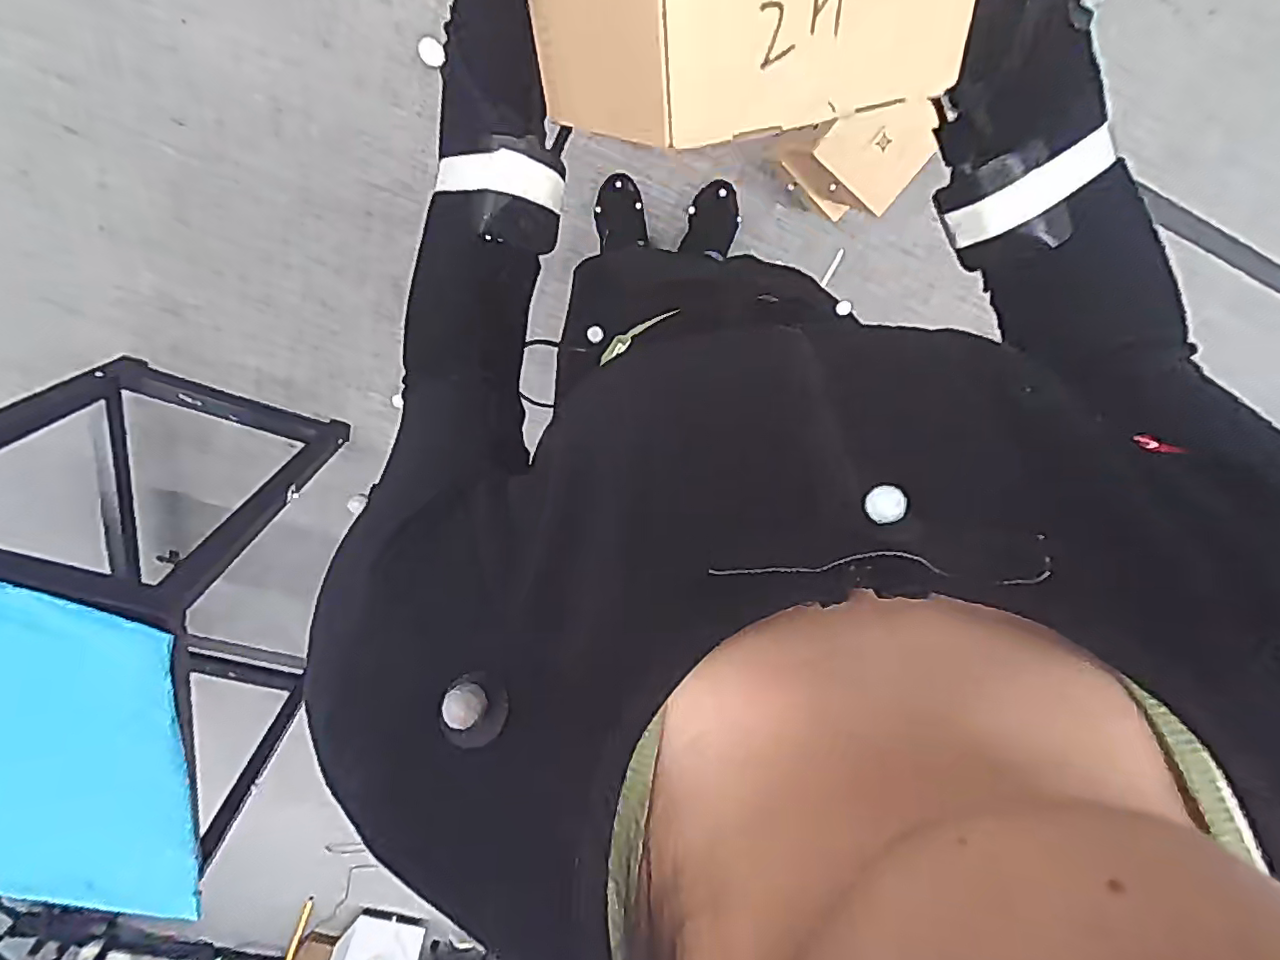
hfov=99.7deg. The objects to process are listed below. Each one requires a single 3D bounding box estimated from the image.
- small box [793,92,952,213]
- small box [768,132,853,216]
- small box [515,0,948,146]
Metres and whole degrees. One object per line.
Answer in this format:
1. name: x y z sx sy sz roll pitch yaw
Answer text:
1. small box: 0.404 -0.616 0.973 0.179 0.176 0.168 31 118 -20
2. small box: 0.394 -0.684 1.126 0.179 0.176 0.168 32 116 -21
3. small box: 0.033 -0.277 0.257 0.168 0.176 0.179 -17 133 -17
